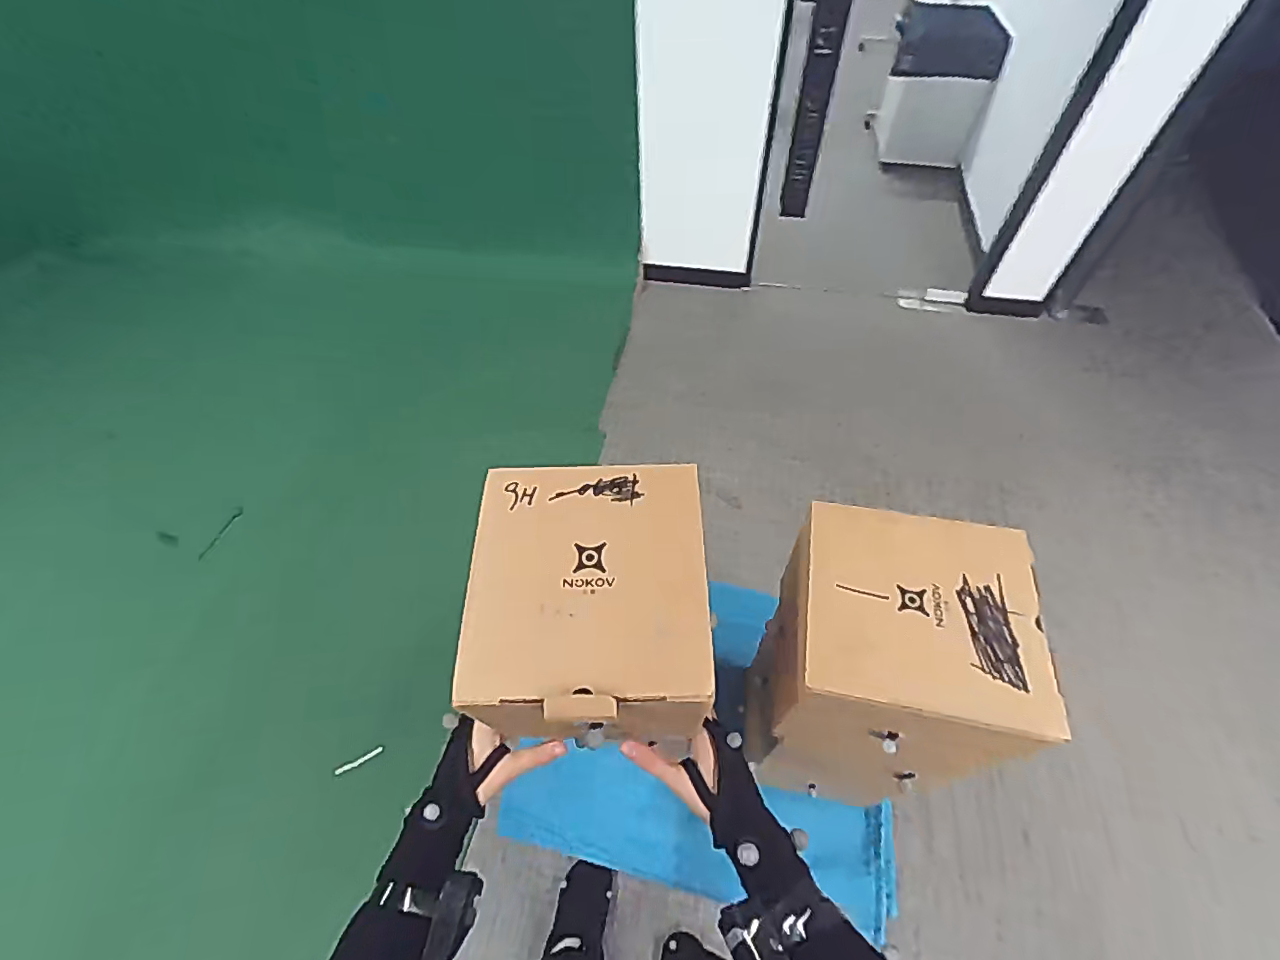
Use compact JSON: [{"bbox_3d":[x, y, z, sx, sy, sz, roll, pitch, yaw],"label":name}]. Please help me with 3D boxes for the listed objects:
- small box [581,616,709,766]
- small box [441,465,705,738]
[{"bbox_3d":[-0.003,0.291,0.782,0.168,0.176,0.179,13,54,9],"label":"small box"},{"bbox_3d":[-0.038,0.106,0.436,0.168,0.176,0.179,-1,58,0],"label":"small box"}]
